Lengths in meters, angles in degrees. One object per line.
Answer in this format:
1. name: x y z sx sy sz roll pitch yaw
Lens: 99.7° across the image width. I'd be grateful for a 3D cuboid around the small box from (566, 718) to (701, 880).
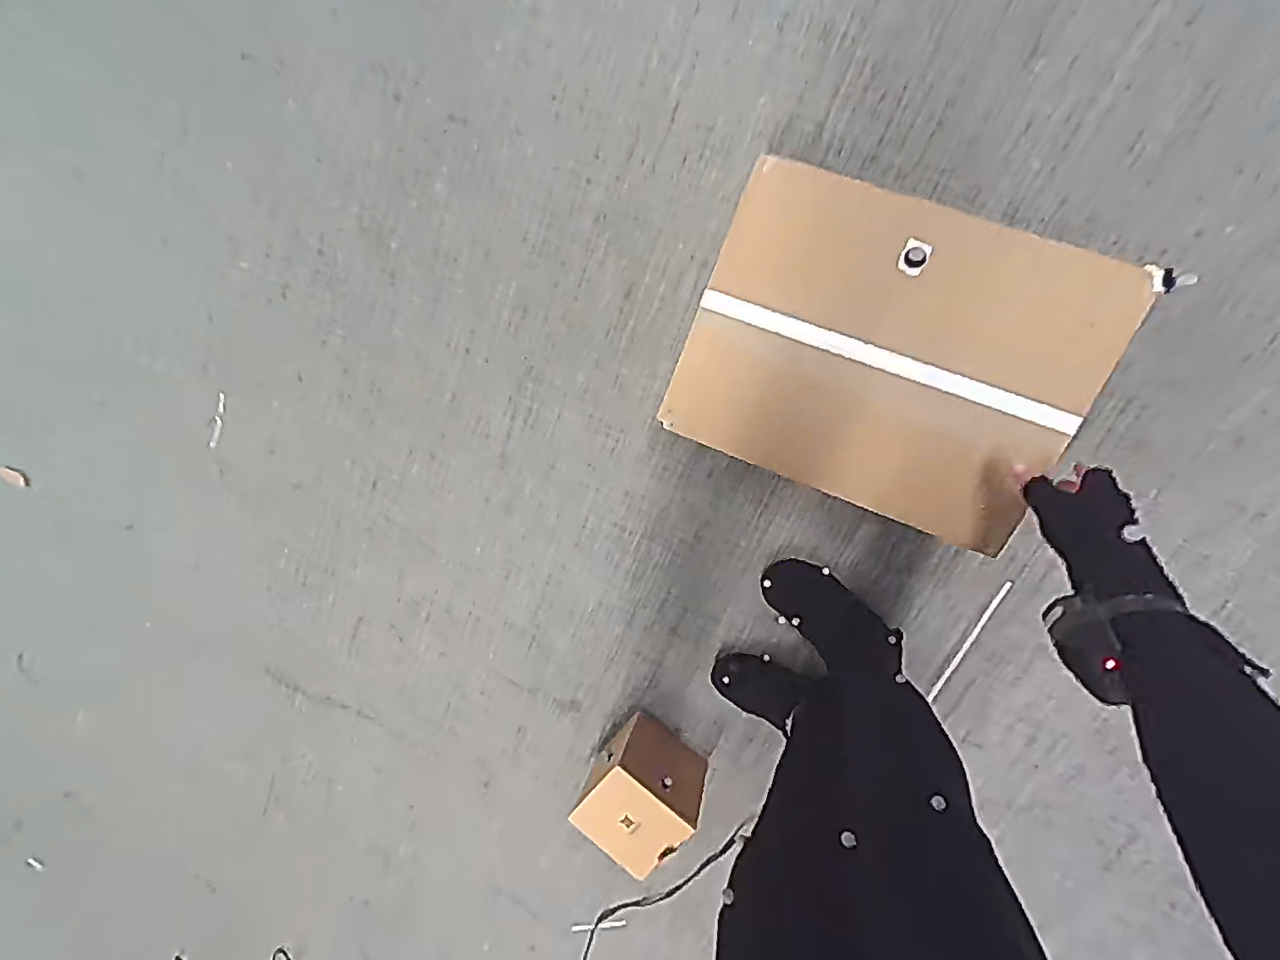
1. small box: -0.004 0.589 1.027 0.179 0.176 0.168 38 107 3
